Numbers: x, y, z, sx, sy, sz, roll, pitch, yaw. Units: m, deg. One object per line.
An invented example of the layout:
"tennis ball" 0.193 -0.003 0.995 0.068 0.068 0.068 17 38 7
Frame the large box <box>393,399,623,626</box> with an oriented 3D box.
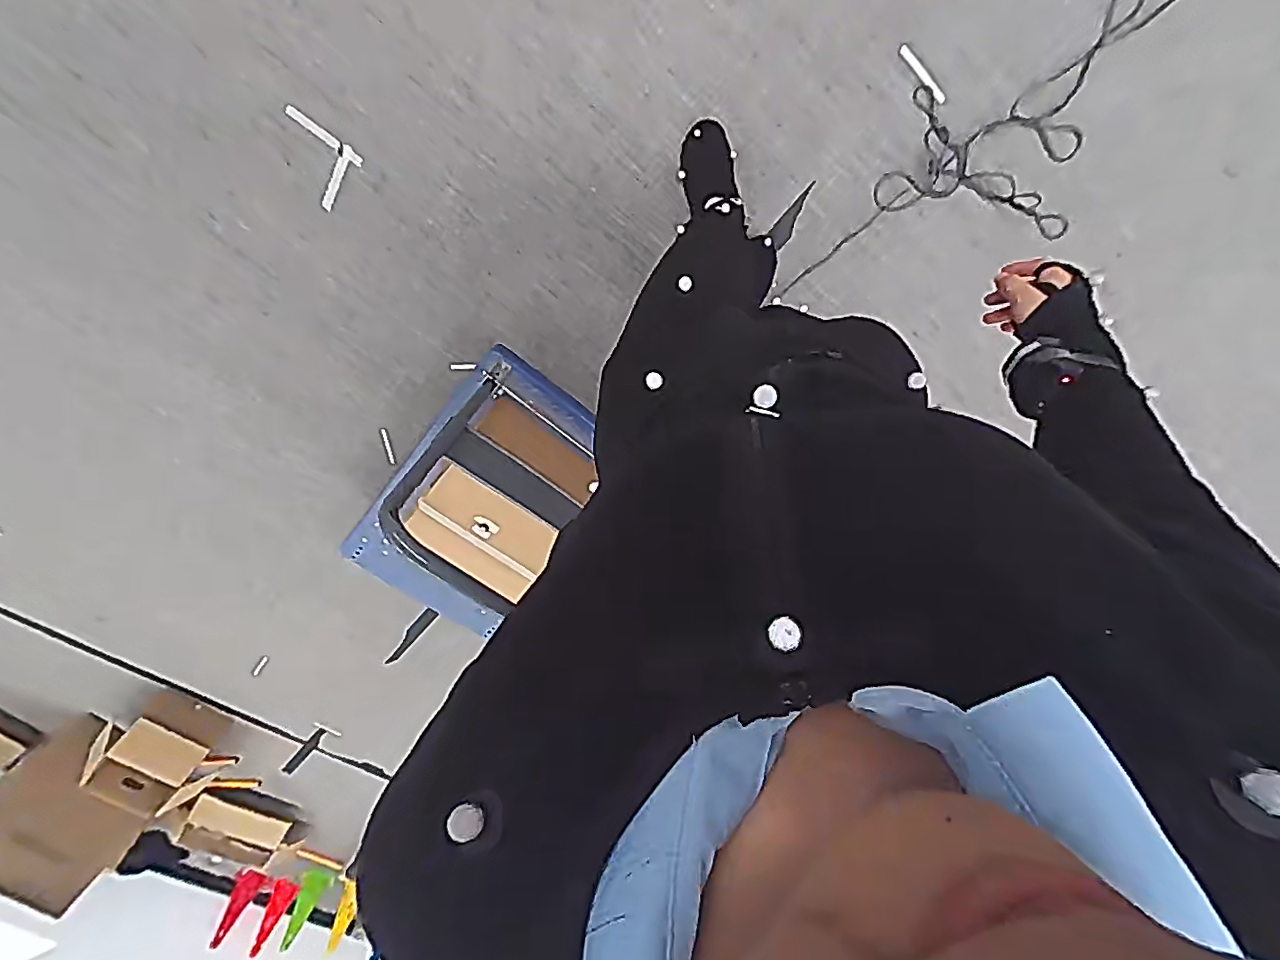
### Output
"large box" -0.300 0.079 1.339 0.408 0.320 0.320 39 116 -17
